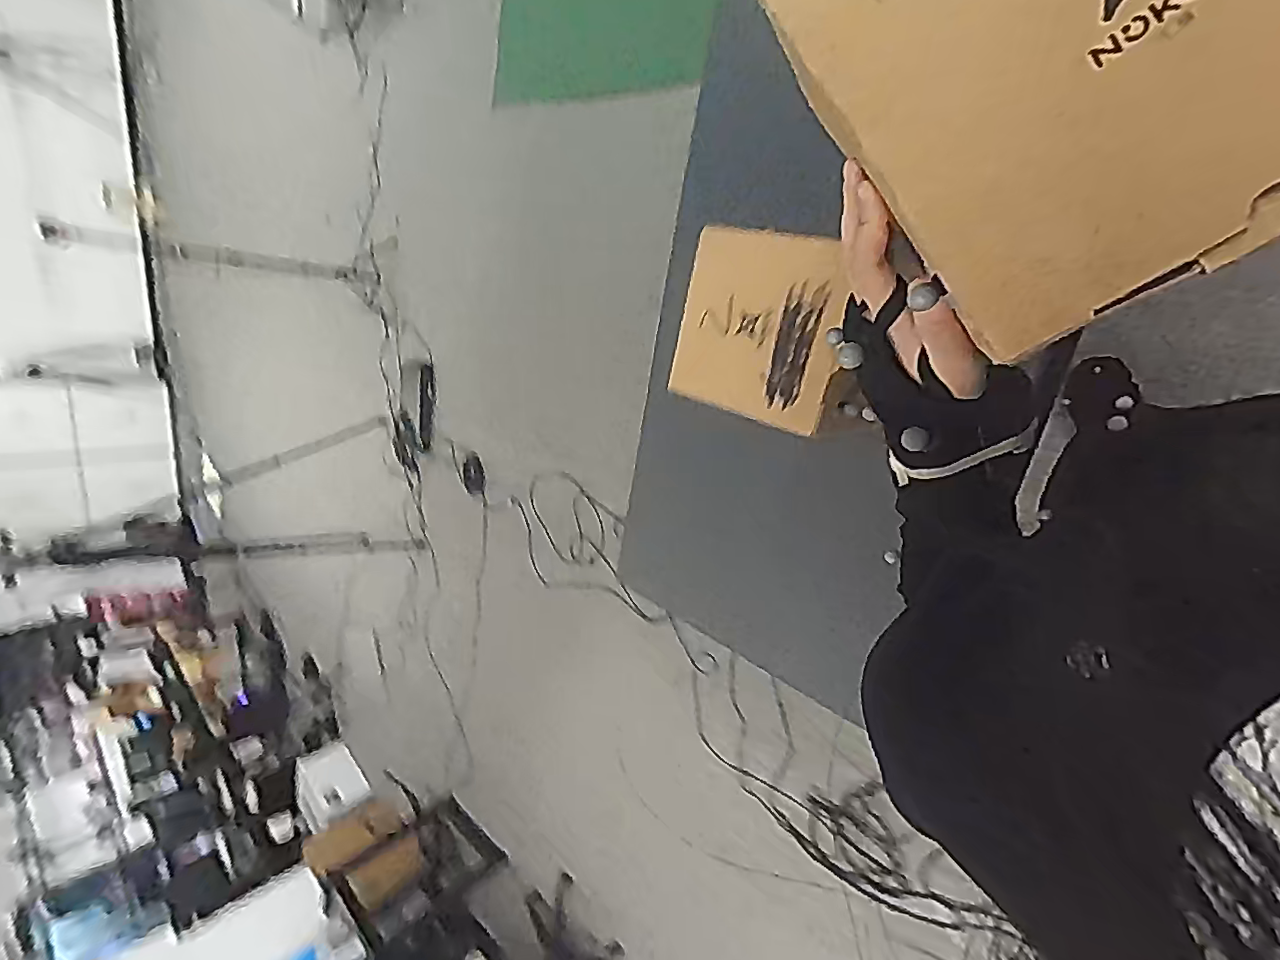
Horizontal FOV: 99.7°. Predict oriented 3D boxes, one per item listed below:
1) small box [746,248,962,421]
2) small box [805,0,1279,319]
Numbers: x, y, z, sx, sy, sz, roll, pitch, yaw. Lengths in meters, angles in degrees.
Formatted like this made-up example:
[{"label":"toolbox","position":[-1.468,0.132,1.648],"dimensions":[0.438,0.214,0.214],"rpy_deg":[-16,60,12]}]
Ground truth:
[{"label":"small box","position":[0.268,-0.180,0.681],"dimensions":[0.179,0.176,0.168],"rpy_deg":[28,115,35]},{"label":"small box","position":[0.182,-0.185,0.217],"dimensions":[0.168,0.176,0.179],"rpy_deg":[-33,91,32]}]
